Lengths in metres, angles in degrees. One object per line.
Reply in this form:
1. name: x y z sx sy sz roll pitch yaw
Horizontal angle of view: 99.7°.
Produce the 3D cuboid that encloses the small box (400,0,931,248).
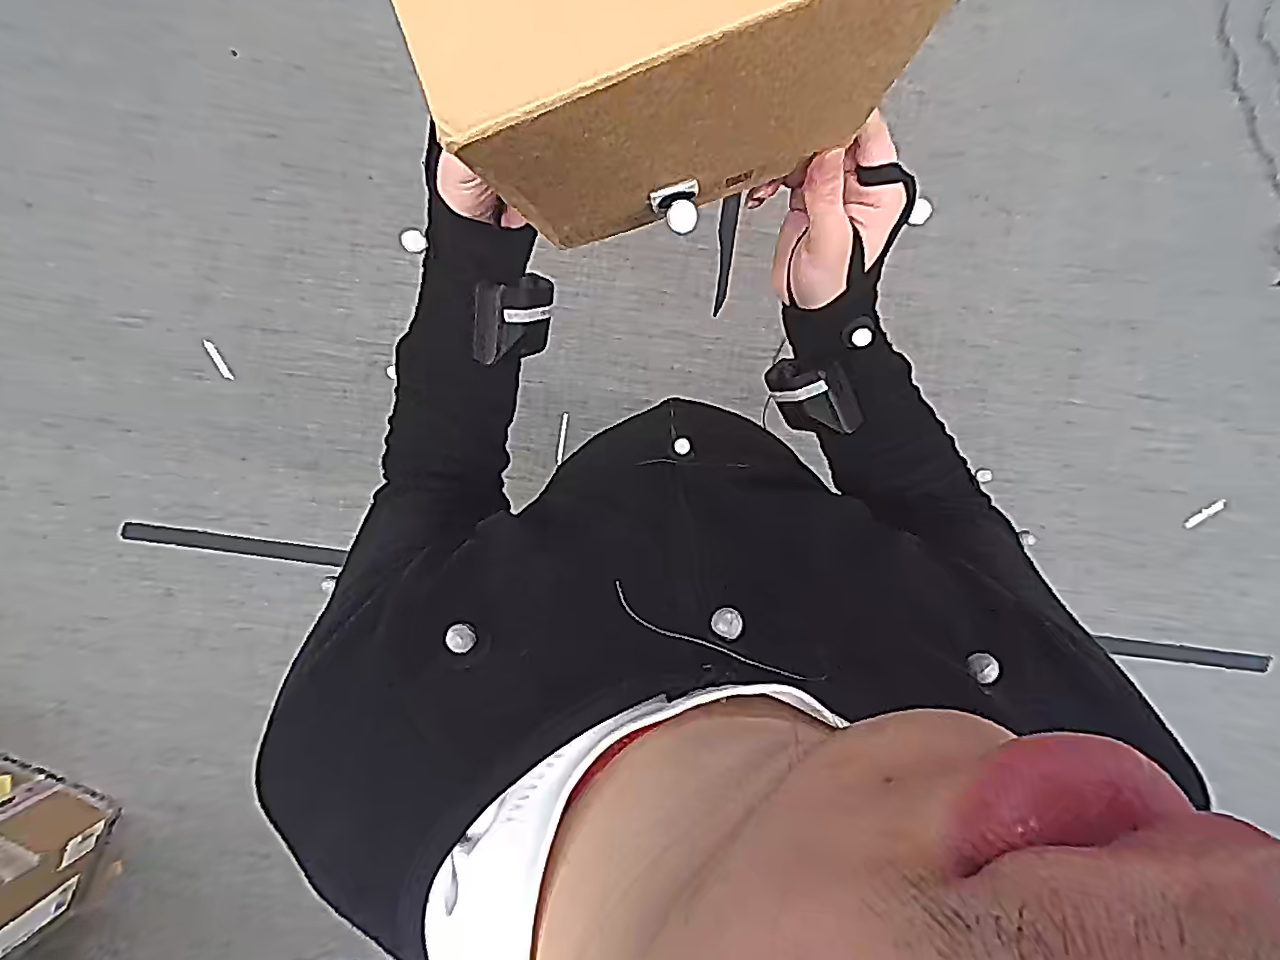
1. small box: -0.002 -0.225 0.226 0.168 0.176 0.179 -17 100 9
